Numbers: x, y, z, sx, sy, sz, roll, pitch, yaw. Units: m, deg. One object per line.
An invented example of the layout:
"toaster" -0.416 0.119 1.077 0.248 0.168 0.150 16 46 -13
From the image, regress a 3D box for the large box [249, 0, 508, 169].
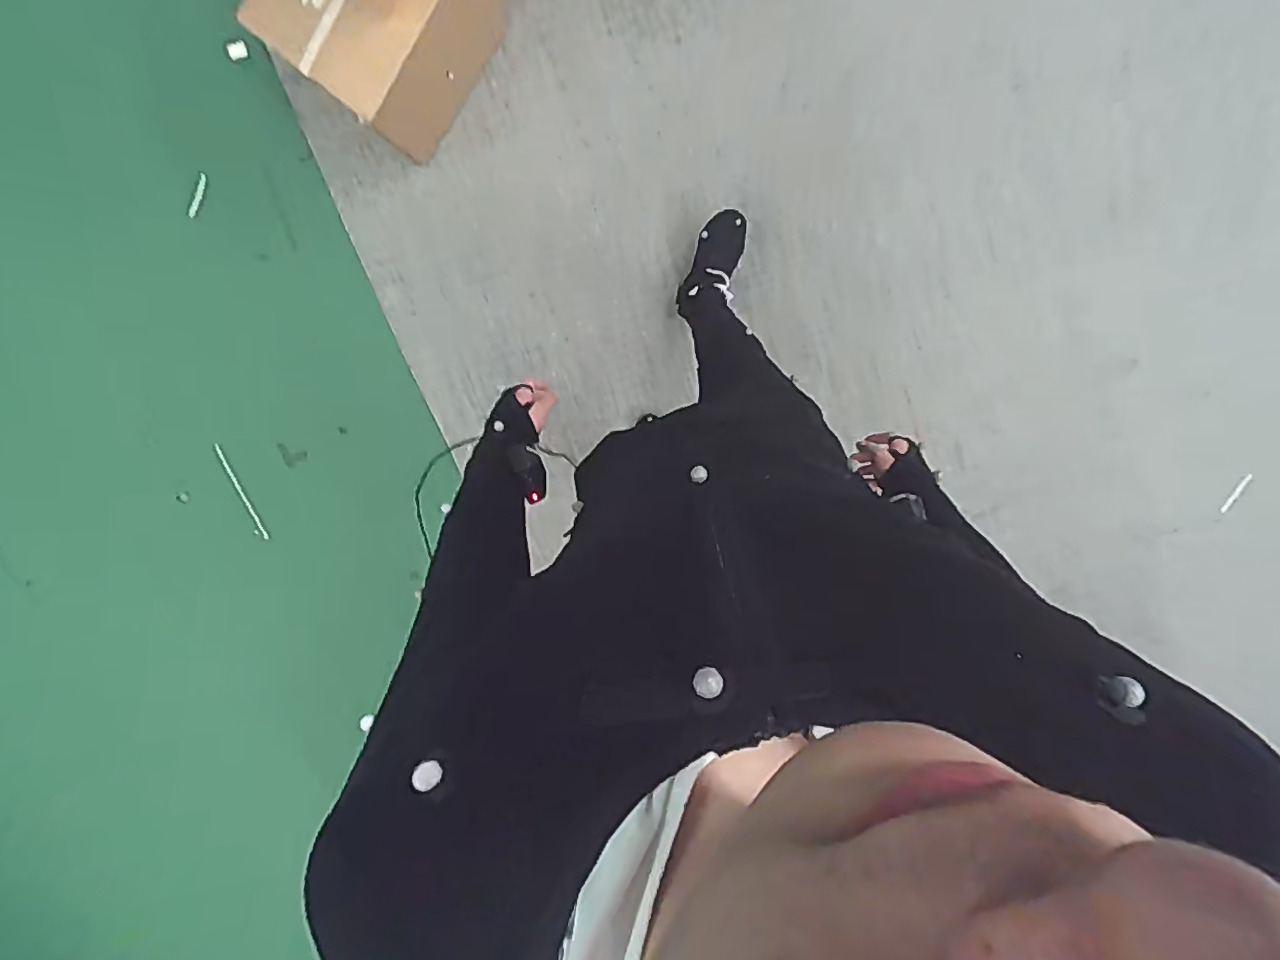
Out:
"large box" -0.562 -1.020 1.226 0.320 0.320 0.408 36 103 -7
